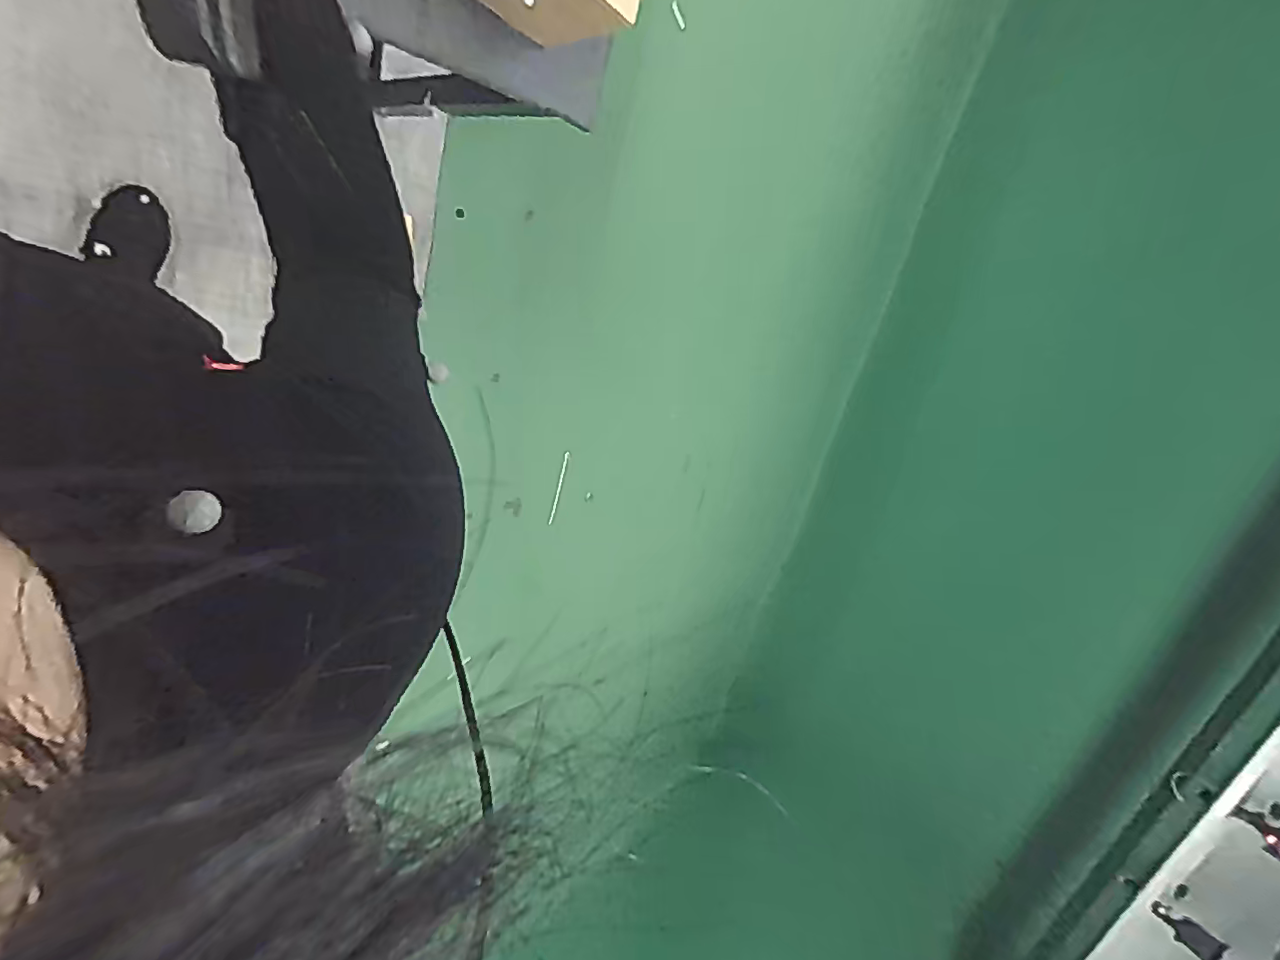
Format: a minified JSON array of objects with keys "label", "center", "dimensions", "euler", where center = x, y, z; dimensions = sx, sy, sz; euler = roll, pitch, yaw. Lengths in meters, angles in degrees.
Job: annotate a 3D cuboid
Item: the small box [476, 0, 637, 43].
[{"label":"small box","center":[-0.104,-0.613,0.582],"dimensions":[0.179,0.176,0.168],"euler":[-2,111,-48]}]
